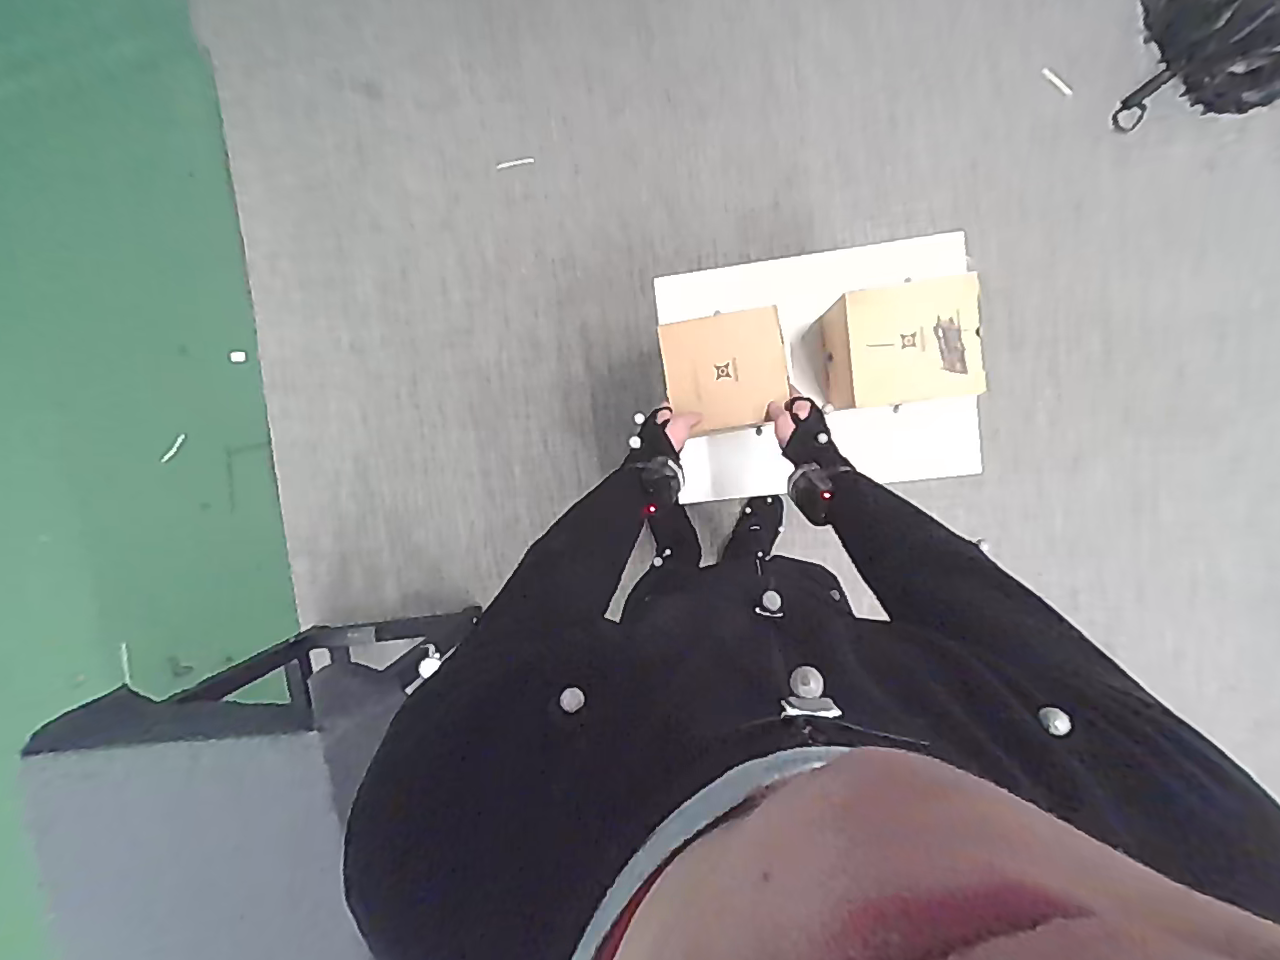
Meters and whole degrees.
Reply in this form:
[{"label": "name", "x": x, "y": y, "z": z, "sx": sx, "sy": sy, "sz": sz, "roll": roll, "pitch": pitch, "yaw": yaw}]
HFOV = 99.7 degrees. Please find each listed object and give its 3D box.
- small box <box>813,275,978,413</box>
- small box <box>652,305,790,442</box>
[{"label": "small box", "x": 0.374, "y": -0.194, "z": 0.818, "sx": 0.179, "sy": 0.176, "sz": 0.168, "roll": -6, "pitch": 94, "yaw": 6}, {"label": "small box", "x": 0.119, "y": -0.154, "z": 0.839, "sx": 0.179, "sy": 0.176, "sz": 0.168, "roll": -9, "pitch": 90, "yaw": 5}]
